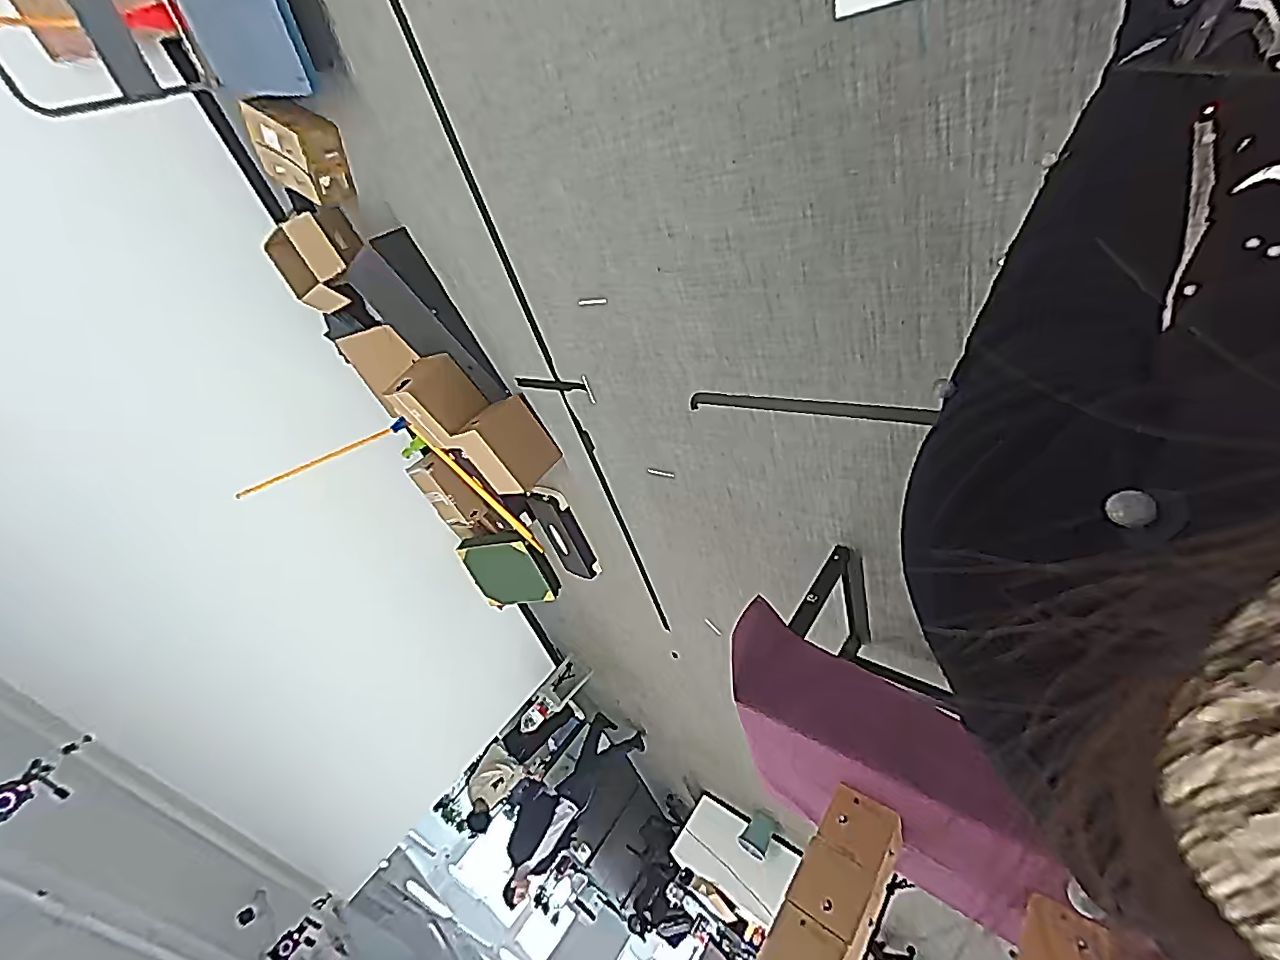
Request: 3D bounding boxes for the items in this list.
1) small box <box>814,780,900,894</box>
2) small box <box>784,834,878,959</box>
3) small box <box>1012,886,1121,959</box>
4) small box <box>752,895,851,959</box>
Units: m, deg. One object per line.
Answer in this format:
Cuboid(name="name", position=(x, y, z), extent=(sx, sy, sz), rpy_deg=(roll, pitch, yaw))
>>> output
Cuboid(name="small box", position=(0.595, 0.962, 1.471), extent=(0.168, 0.176, 0.179), rpy_deg=(13, 136, 41))
Cuboid(name="small box", position=(0.496, 1.057, 1.381), extent=(0.179, 0.176, 0.168), rpy_deg=(12, 135, 42))
Cuboid(name="small box", position=(0.935, 1.056, 1.193), extent=(0.168, 0.176, 0.179), rpy_deg=(12, 134, 41))
Cuboid(name="small box", position=(0.395, 1.158, 1.301), extent=(0.168, 0.176, 0.179), rpy_deg=(13, 136, 41))
